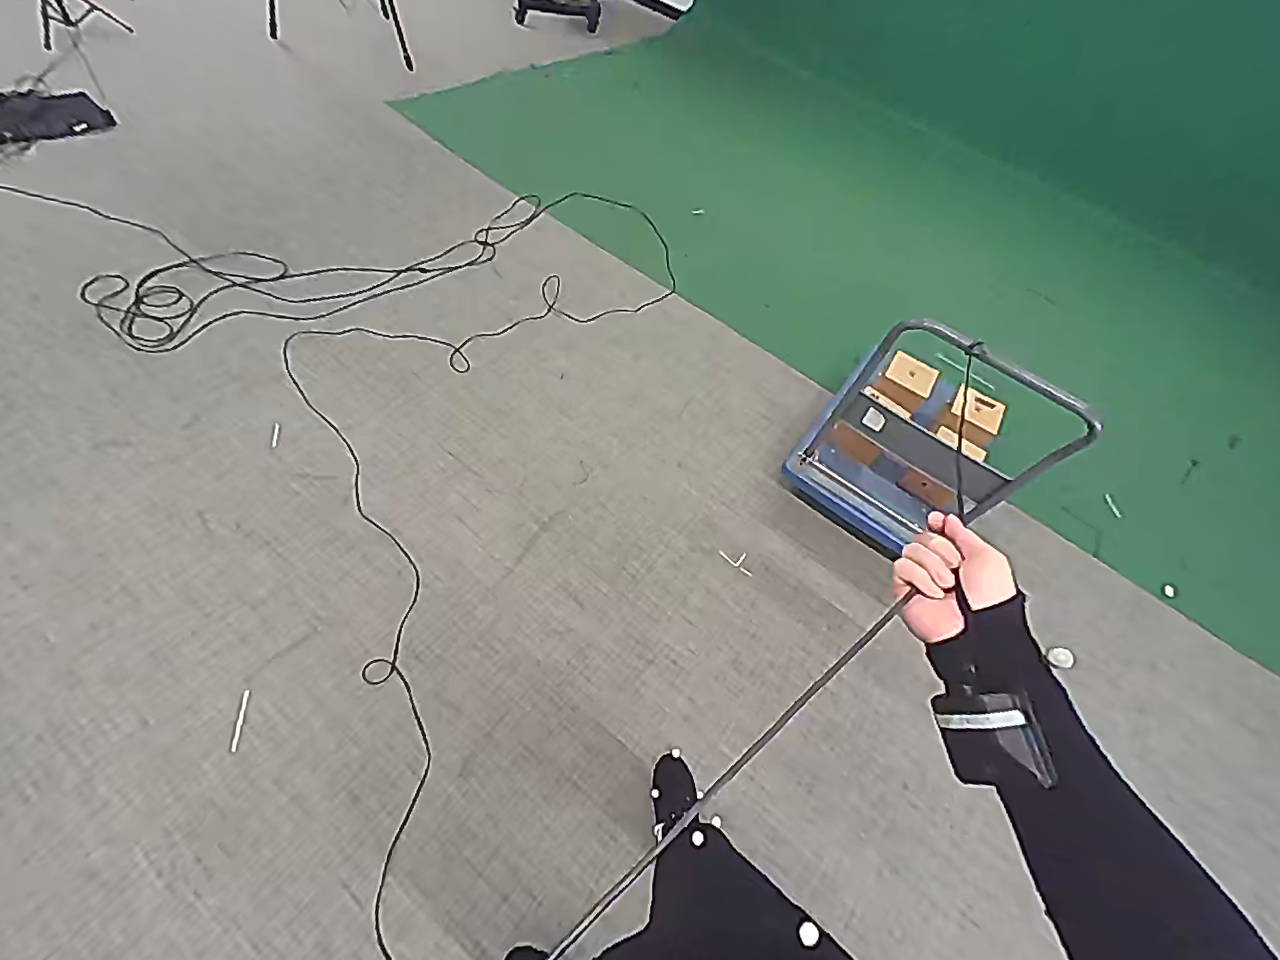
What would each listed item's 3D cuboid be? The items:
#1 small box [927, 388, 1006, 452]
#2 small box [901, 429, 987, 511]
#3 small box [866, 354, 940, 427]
[{"bbox_3d":[1.179,-0.195,1.963,0.168,0.176,0.179,33,58,12],"label":"small box"},{"bbox_3d":[1.017,-0.032,1.822,0.168,0.176,0.179,37,58,14],"label":"small box"},{"bbox_3d":[0.973,-0.329,2.013,0.168,0.176,0.179,34,57,11],"label":"small box"}]
